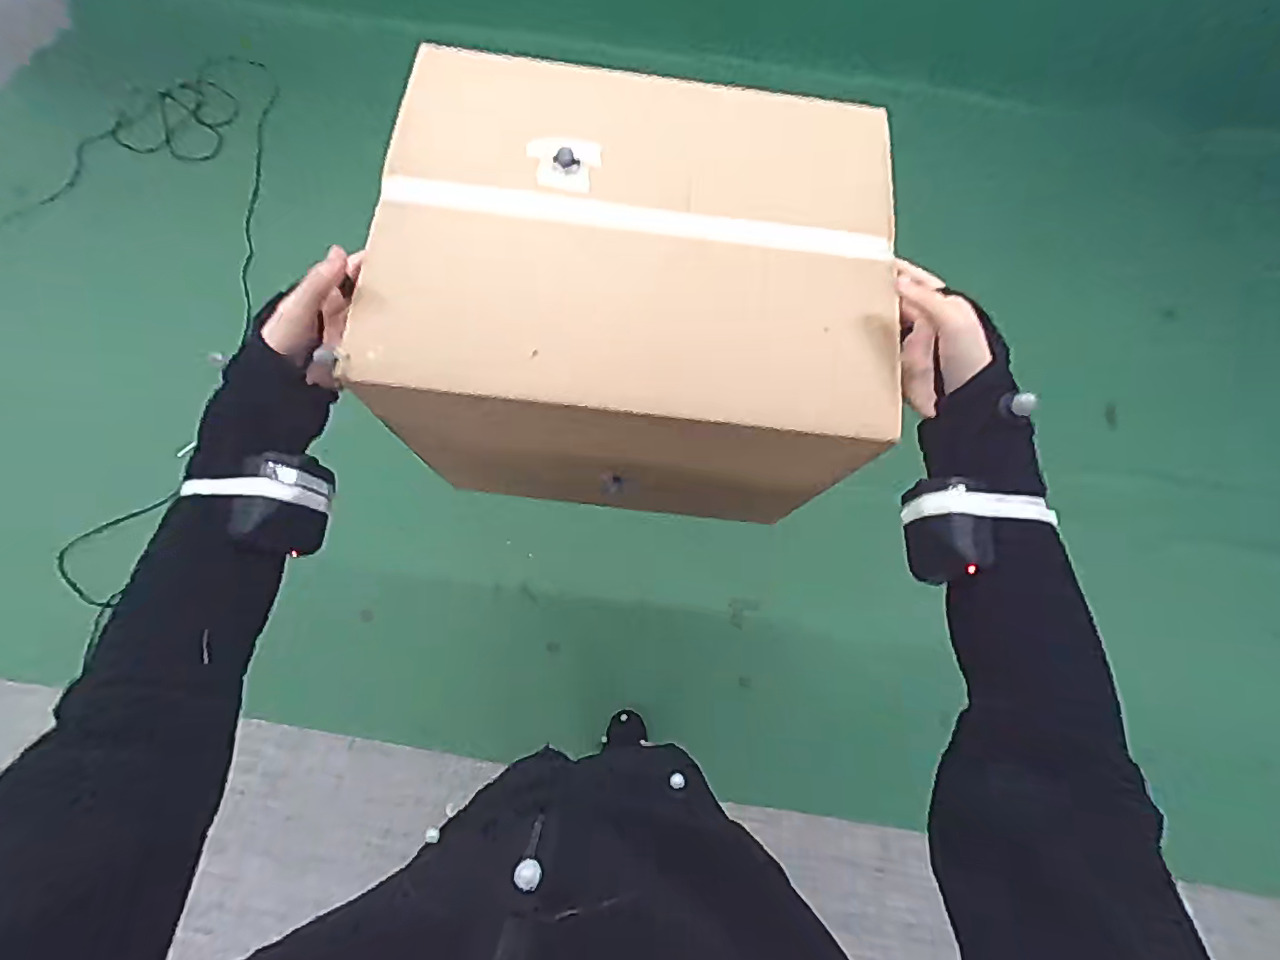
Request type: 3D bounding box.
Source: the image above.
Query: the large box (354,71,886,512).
[{"bbox_3d":[-0.006,-0.154,0.579,0.408,0.320,0.320,6,74,-1],"label":"large box"}]
